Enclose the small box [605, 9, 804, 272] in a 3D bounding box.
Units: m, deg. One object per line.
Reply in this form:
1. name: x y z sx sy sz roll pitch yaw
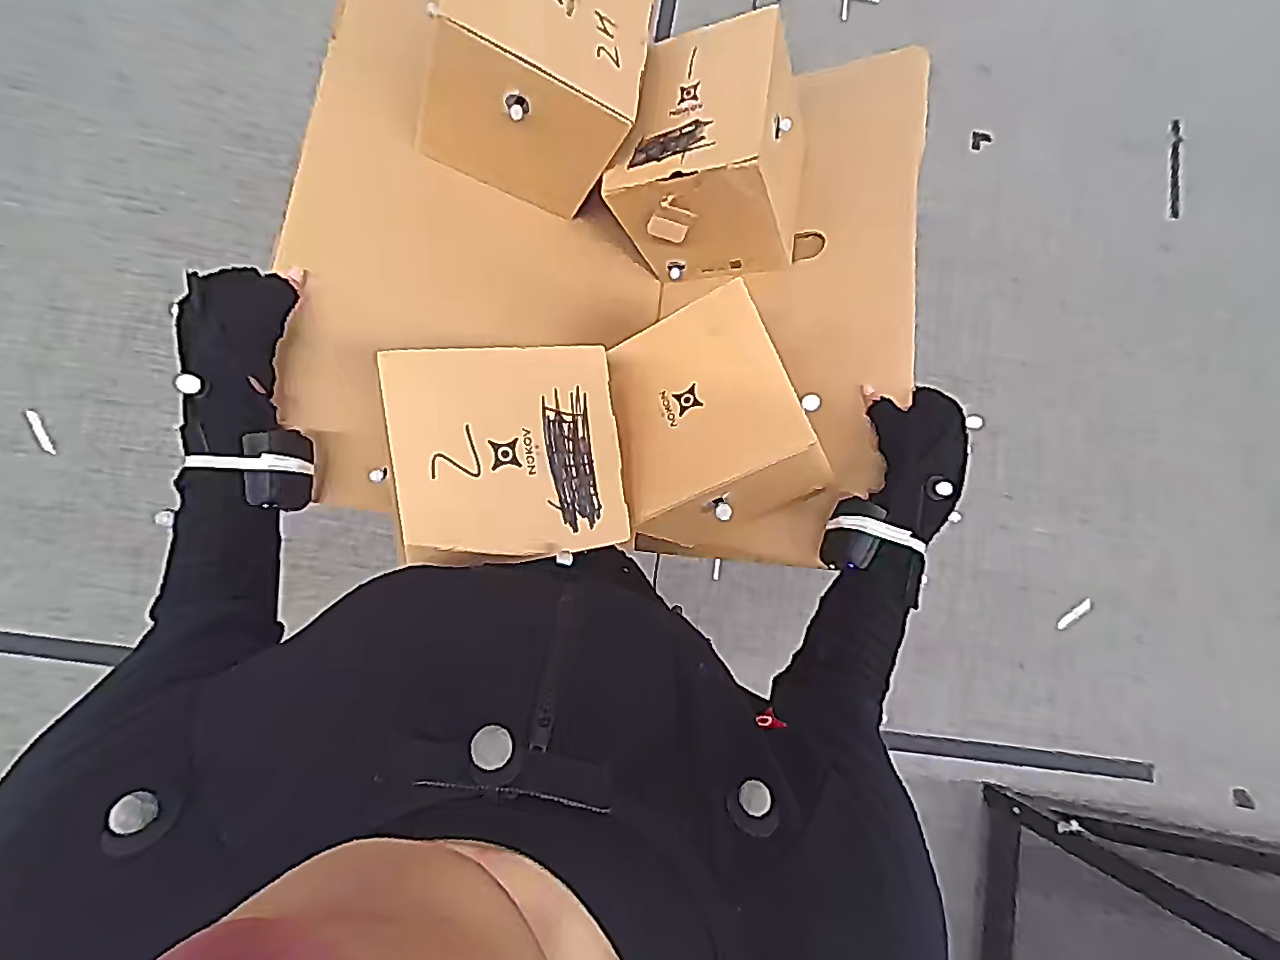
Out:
1. small box: 0.082 -0.353 0.605 0.168 0.176 0.179 4 77 26
